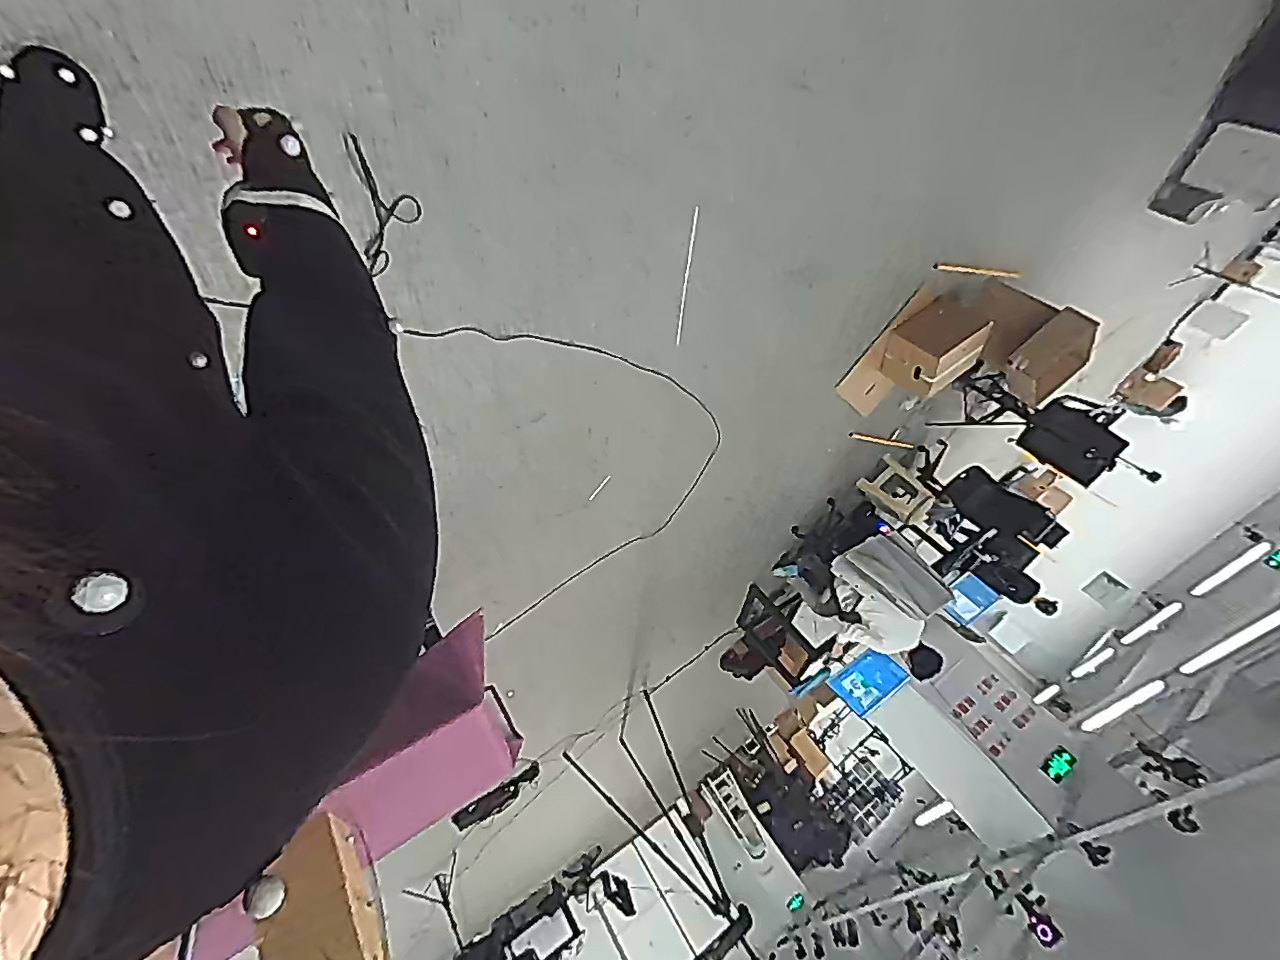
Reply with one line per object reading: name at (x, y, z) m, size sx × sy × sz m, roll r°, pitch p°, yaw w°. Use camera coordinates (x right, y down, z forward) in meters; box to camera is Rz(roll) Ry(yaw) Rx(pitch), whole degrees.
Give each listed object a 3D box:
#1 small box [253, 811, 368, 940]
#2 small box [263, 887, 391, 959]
small box at (-0.752, 0.903, 1.233) m, size 0.179 × 0.176 × 0.168 m, roll -23°, pitch 143°, yaw -26°
small box at (-0.660, 1.011, 1.148) m, size 0.179 × 0.176 × 0.168 m, roll -24°, pitch 143°, yaw -24°
